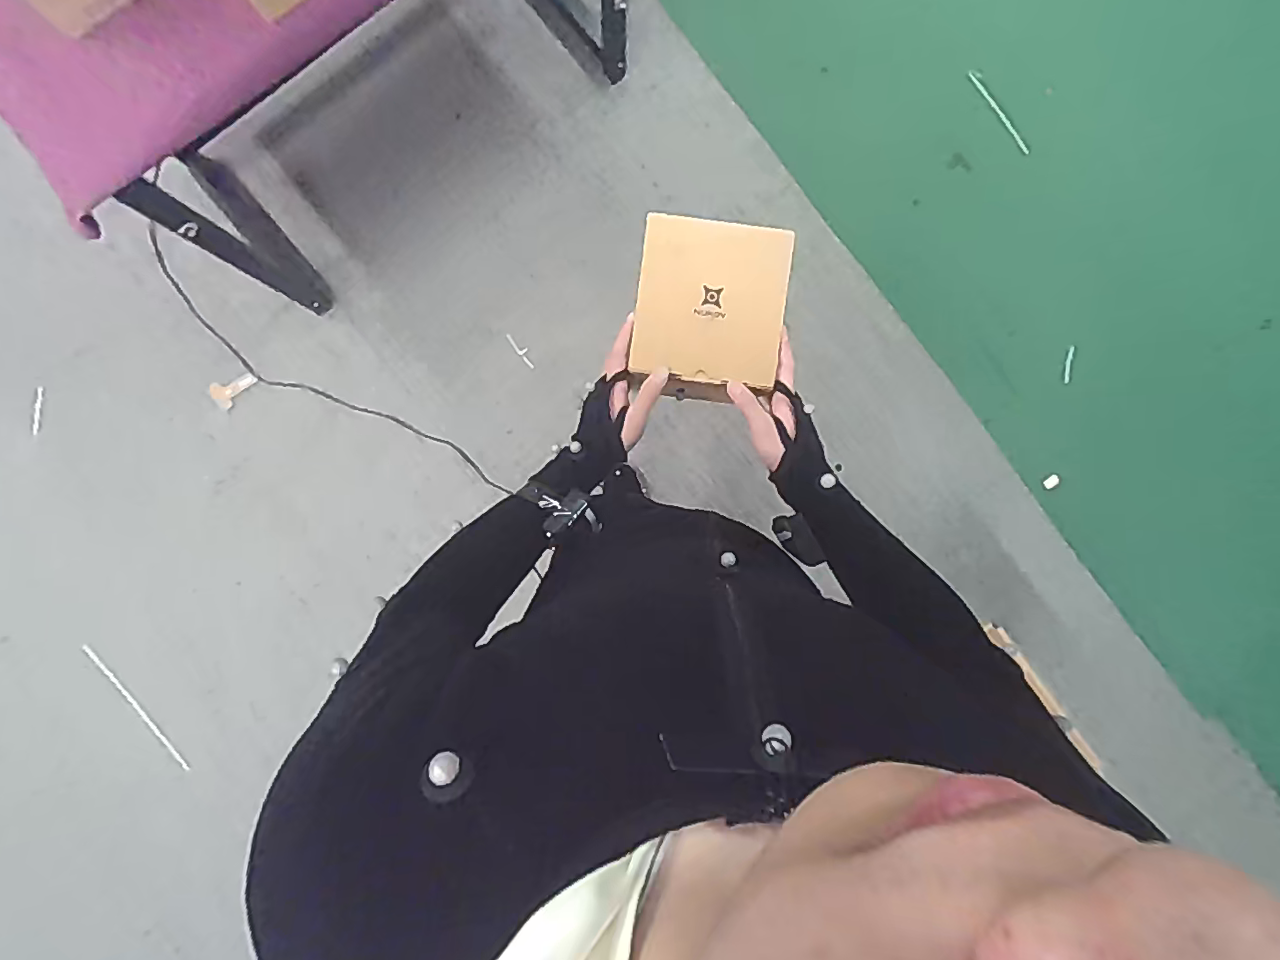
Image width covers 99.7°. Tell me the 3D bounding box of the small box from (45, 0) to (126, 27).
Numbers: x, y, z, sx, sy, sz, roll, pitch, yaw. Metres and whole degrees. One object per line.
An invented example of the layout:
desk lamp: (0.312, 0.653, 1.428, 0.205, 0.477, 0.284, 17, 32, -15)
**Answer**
small box: (-0.896, -0.844, 0.799, 0.168, 0.176, 0.179, -38, 90, -1)

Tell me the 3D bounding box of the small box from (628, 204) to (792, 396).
small box: (0.075, -0.207, 0.669, 0.168, 0.176, 0.179, 6, 93, -1)
